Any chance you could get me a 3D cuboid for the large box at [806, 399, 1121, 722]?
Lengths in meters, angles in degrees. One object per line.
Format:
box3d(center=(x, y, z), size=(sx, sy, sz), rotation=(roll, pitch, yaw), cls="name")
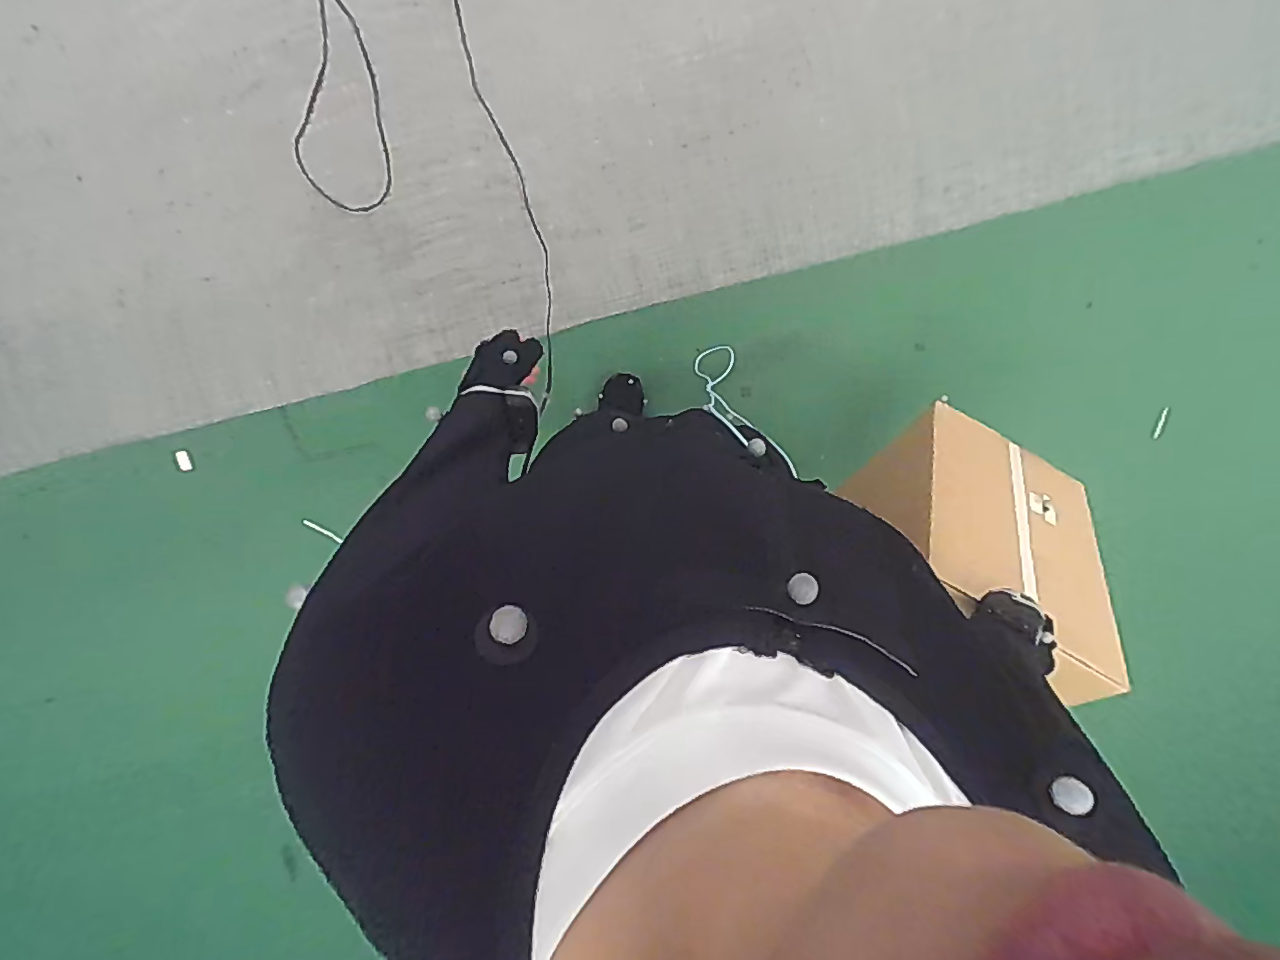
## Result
box3d(center=(0.530, 0.142, 0.961), size=(0.320, 0.408, 0.320), rotation=(29, 139, -2), cls="large box")
